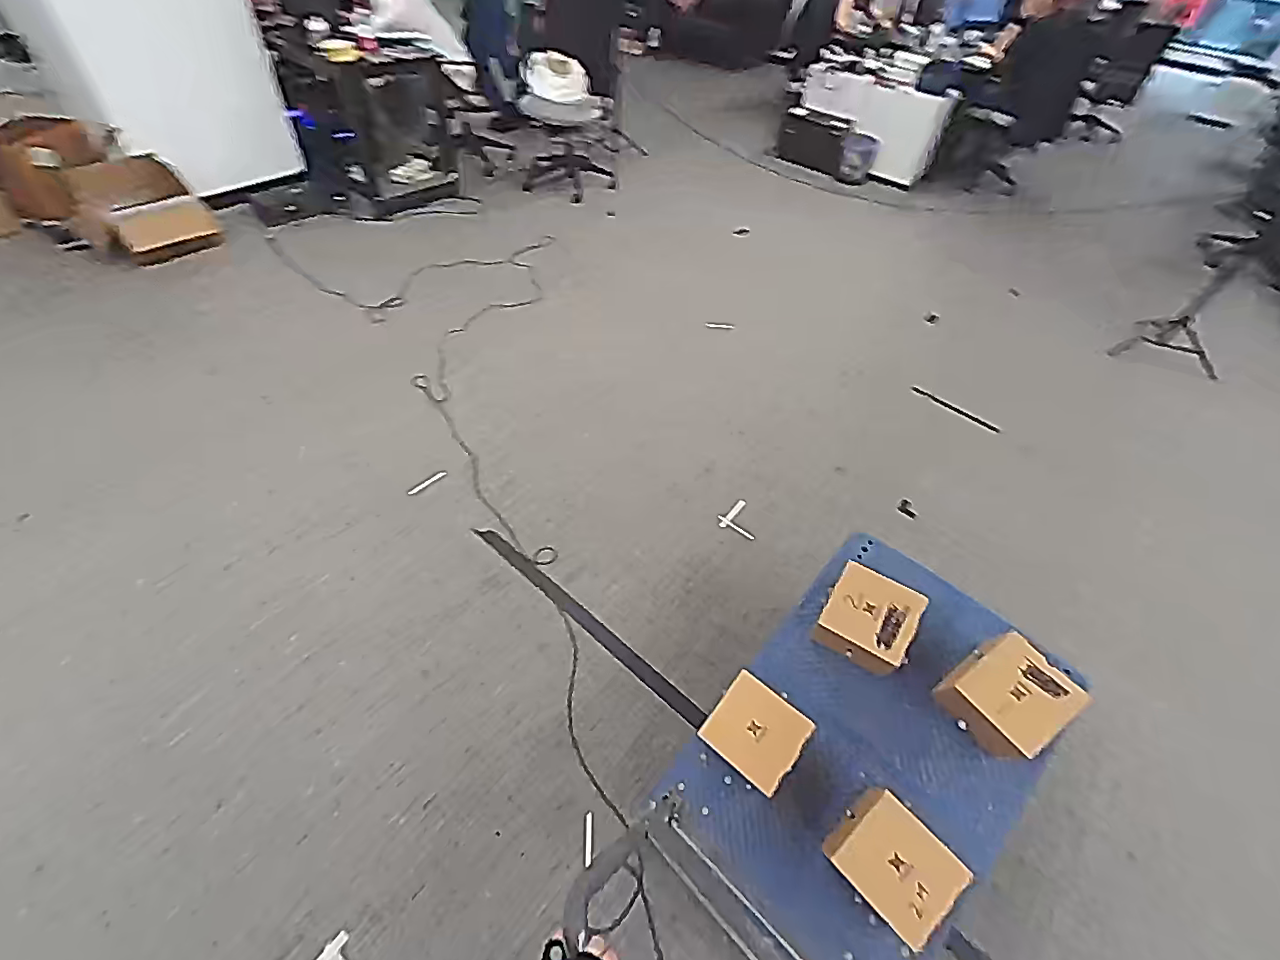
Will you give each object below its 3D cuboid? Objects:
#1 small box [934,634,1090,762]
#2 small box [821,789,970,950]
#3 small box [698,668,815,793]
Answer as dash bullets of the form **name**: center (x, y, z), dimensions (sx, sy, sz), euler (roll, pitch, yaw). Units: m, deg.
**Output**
- **small box**: center (0.743, 0.446, 1.105), dimensions (0.179, 0.176, 0.168), euler (-37, 63, -8)
- **small box**: center (0.465, 0.715, 1.017), dimensions (0.168, 0.176, 0.179), euler (-42, 64, -11)
- **small box**: center (0.242, 0.533, 1.153), dimensions (0.179, 0.176, 0.168), euler (35, 74, 22)
